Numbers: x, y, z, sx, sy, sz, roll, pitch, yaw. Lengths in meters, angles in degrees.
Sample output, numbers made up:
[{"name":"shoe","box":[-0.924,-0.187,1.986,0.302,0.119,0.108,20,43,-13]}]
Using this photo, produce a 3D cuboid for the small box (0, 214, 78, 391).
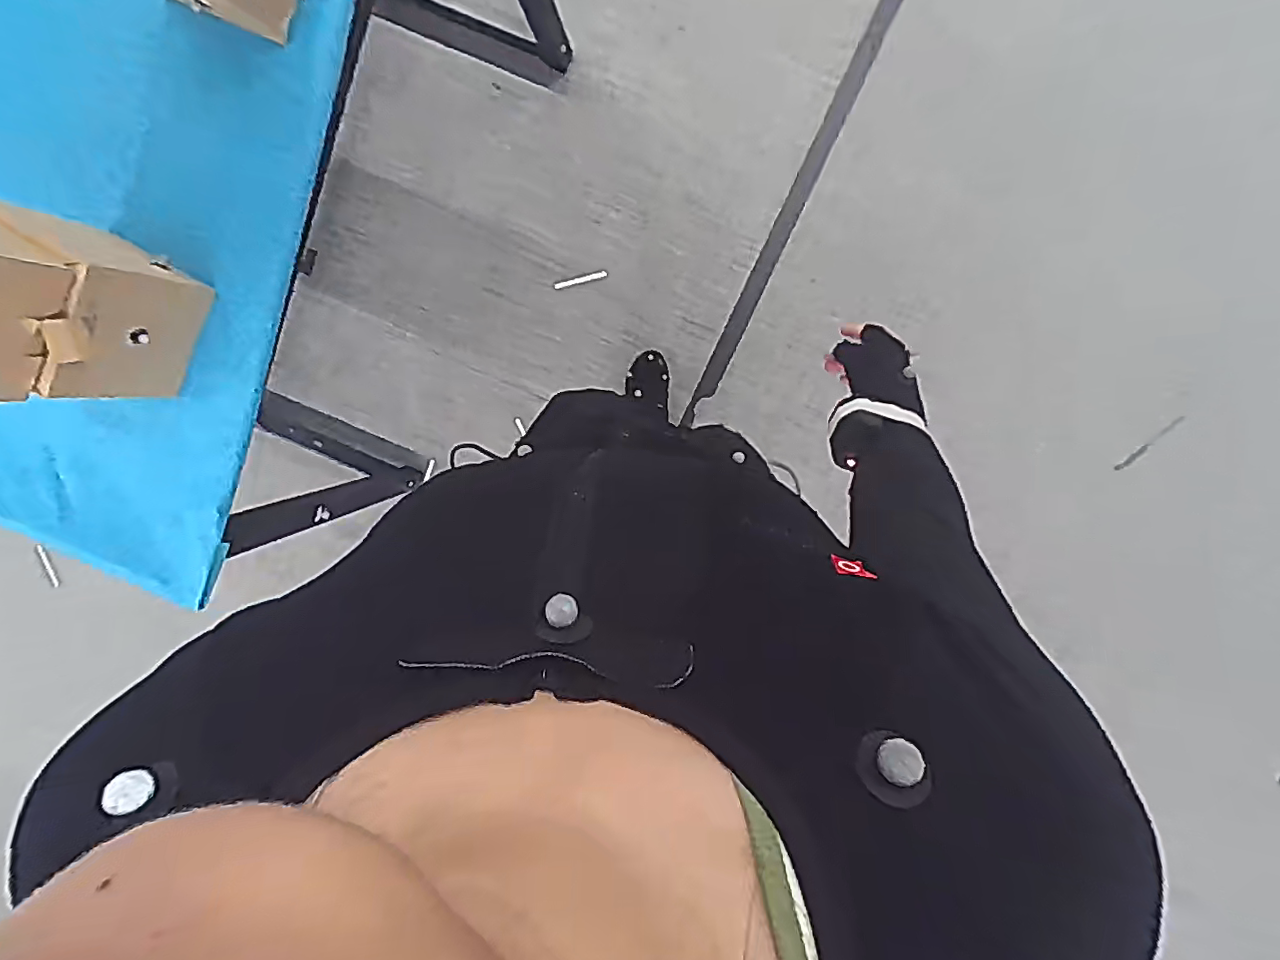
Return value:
[{"name":"small box","box":[-0.719,-0.195,0.510,0.179,0.176,0.168,32,100,-3]}]

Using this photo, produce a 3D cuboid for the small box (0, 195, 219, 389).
[{"name":"small box","box":[-0.692,-0.224,0.671,0.179,0.176,0.168,29,100,-1]}]

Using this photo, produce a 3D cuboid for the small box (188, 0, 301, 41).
[{"name":"small box","box":[-0.493,-0.641,0.584,0.179,0.176,0.168,24,101,1]}]
